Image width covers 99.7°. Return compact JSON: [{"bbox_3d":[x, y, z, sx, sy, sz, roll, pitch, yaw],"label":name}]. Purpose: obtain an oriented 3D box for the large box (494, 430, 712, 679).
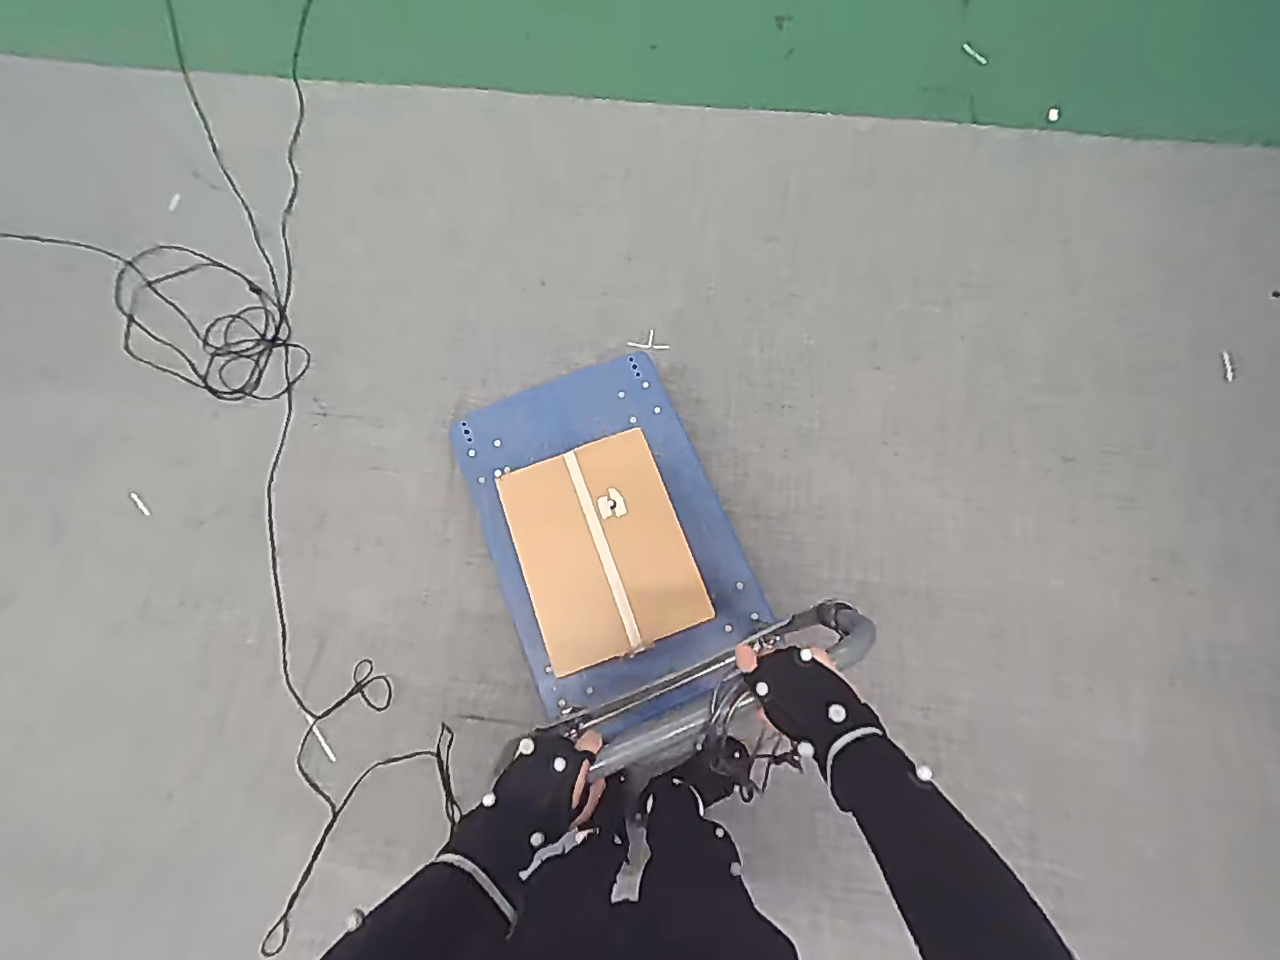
[{"bbox_3d":[-0.073,0.170,1.163,0.320,0.320,0.408,-19,73,-5],"label":"large box"}]
